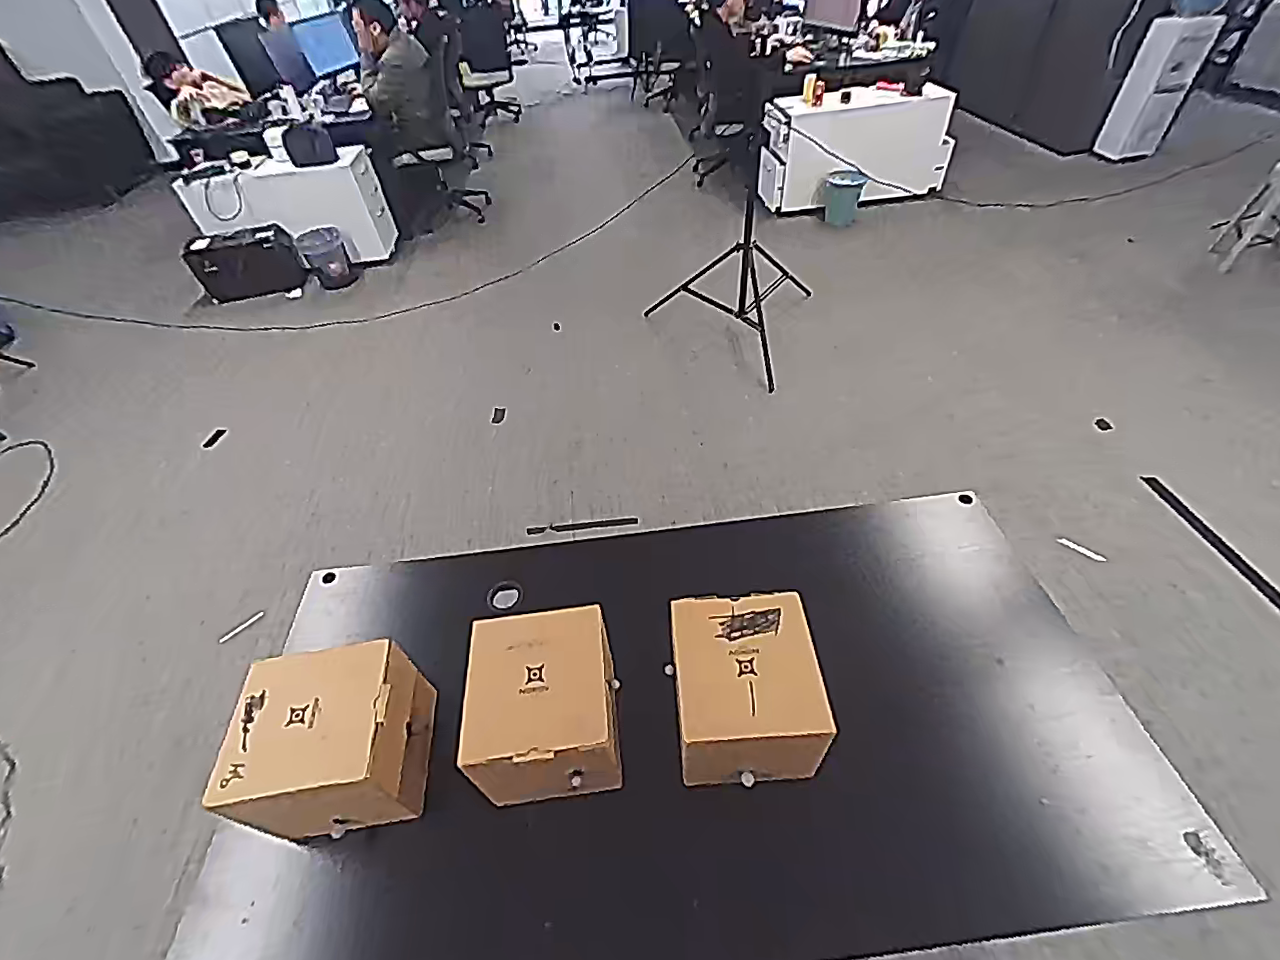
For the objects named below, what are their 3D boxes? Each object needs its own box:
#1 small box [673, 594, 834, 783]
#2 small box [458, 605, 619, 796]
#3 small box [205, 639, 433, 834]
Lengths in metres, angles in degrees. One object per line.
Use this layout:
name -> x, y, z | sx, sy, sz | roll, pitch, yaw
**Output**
small box -> 0.129, 0.267, 0.694 | 0.168, 0.176, 0.179 | -4, 47, 1
small box -> -0.120, 0.289, 0.698 | 0.168, 0.176, 0.179 | -7, 45, -2
small box -> -0.379, 0.325, 0.683 | 0.179, 0.176, 0.168 | -8, 46, -4
